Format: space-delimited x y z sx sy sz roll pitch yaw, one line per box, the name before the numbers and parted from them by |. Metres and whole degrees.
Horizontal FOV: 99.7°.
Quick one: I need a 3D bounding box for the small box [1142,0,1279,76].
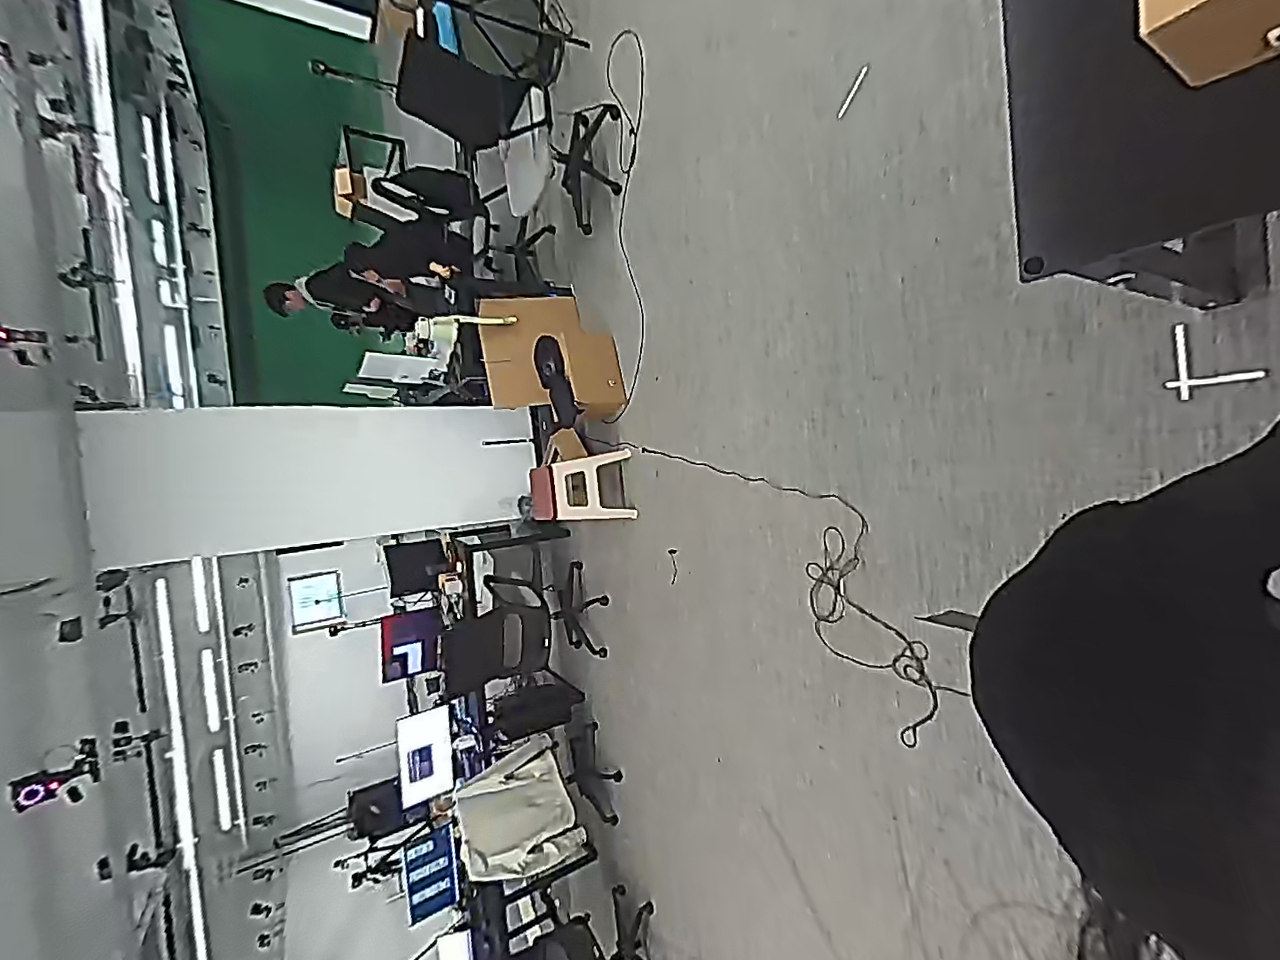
small box | 0.538 -0.478 0.433 0.168 0.176 0.179 1 97 59
